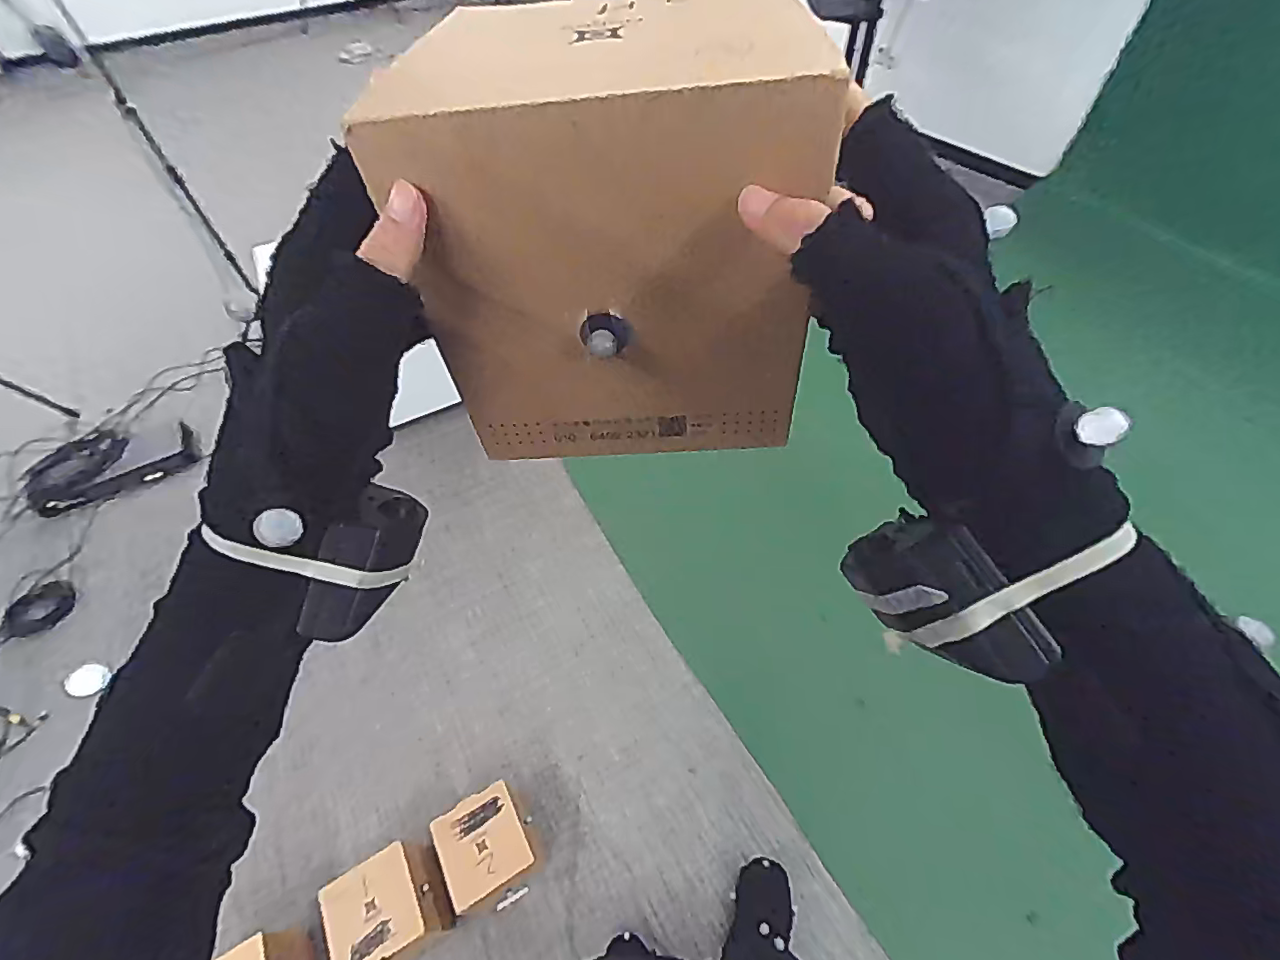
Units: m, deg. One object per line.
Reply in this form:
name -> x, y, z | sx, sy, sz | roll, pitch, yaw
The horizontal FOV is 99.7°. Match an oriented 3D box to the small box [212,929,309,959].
small box -> -0.741, 0.991, 1.013 | 0.168, 0.176, 0.179 | -27, 55, -17

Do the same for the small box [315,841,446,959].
small box -> -0.517, 0.872, 1.092 | 0.168, 0.176, 0.179 | -28, 54, -17
